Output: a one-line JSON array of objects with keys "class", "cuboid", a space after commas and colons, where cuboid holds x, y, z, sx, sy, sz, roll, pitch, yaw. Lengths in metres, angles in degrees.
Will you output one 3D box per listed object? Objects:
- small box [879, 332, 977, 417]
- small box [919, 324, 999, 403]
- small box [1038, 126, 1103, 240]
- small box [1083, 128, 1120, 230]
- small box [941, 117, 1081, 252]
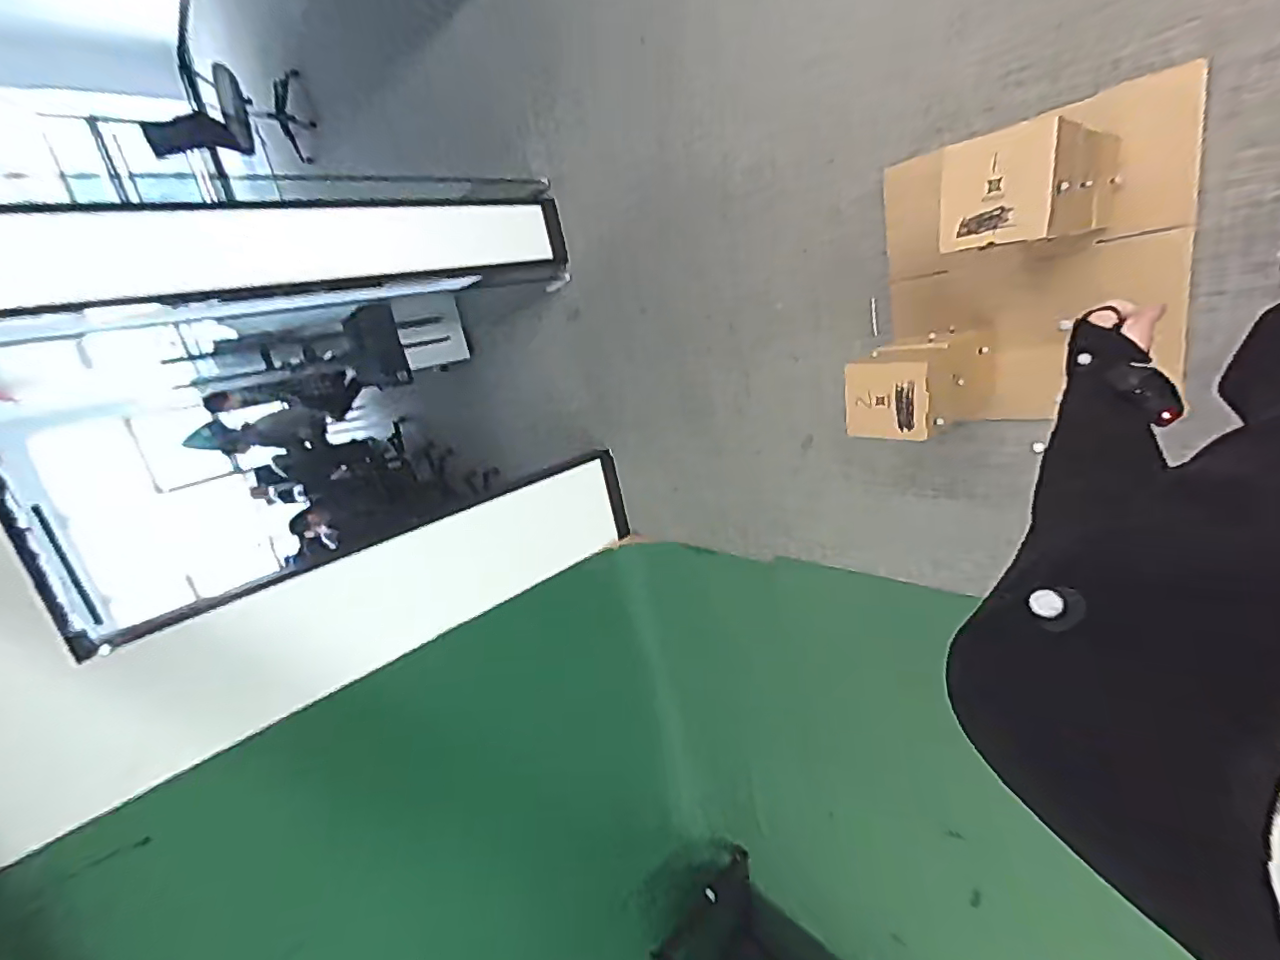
[{"class": "small box", "cuboid": [0.698, -0.258, 1.309, 0.168, 0.176, 0.179, 8, 116, 47]}, {"class": "small box", "cuboid": [0.816, -0.305, 1.409, 0.168, 0.176, 0.179, 9, 116, 48]}, {"class": "small box", "cuboid": [0.773, -0.565, 1.054, 0.168, 0.176, 0.179, 13, 119, 46]}, {"class": "small box", "cuboid": [0.894, -0.619, 1.150, 0.168, 0.176, 0.179, 11, 117, 47]}, {"class": "small box", "cuboid": [0.653, -0.514, 0.955, 0.168, 0.176, 0.179, 12, 118, 45]}]
